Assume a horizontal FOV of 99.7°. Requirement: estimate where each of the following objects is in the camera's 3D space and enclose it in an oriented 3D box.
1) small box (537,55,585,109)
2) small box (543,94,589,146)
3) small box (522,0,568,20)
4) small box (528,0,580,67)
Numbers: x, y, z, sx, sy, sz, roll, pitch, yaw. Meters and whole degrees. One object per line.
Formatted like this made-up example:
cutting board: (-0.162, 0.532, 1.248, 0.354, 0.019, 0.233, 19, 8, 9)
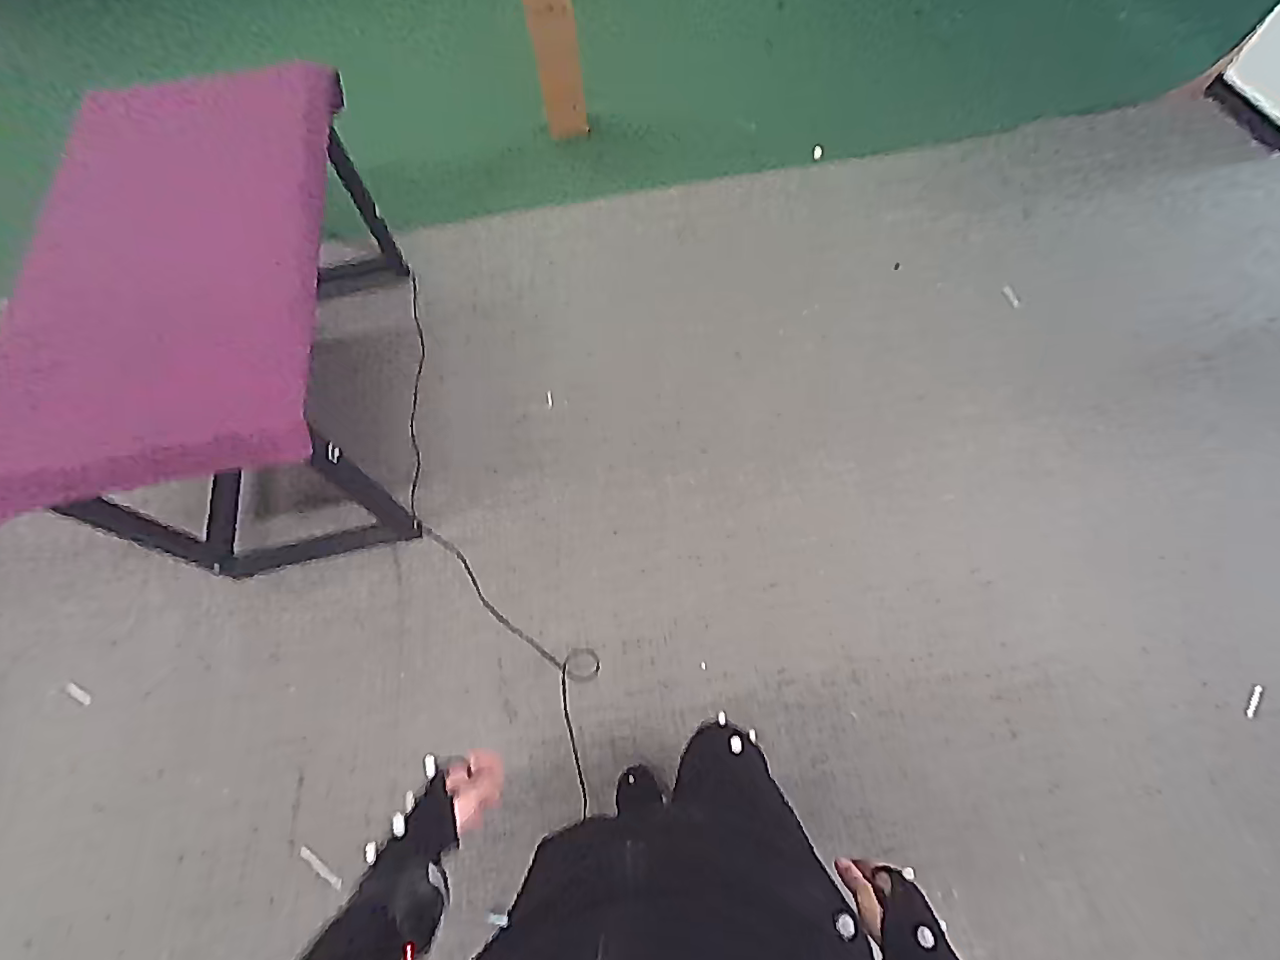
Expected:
small box: (-0.338, -1.731, 2.317, 0.179, 0.176, 0.168, -13, 65, -3)
small box: (-0.333, -1.662, 2.462, 0.179, 0.176, 0.168, -14, 64, -5)
small box: (-0.370, -1.855, 2.015, 0.168, 0.176, 0.179, -12, 66, -3)
small box: (-0.350, -1.799, 2.168, 0.179, 0.176, 0.168, -15, 65, -5)
